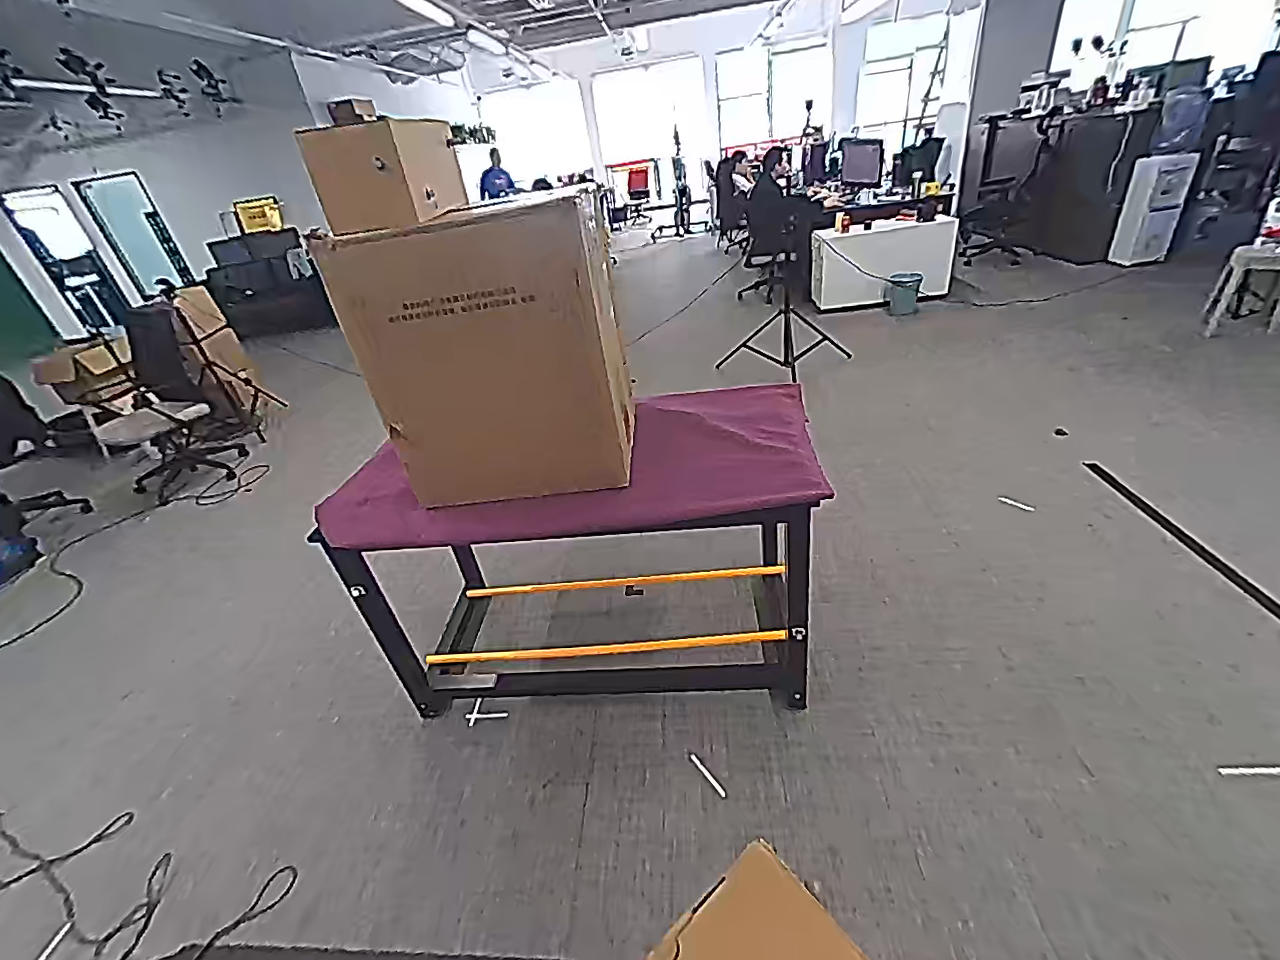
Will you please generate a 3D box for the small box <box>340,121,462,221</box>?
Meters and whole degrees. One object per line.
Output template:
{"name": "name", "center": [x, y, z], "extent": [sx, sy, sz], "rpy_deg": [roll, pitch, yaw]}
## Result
{"name": "small box", "center": [-0.508, -0.672, 1.183], "extent": [0.168, 0.176, 0.179], "rpy_deg": [-6, 31, 5]}
